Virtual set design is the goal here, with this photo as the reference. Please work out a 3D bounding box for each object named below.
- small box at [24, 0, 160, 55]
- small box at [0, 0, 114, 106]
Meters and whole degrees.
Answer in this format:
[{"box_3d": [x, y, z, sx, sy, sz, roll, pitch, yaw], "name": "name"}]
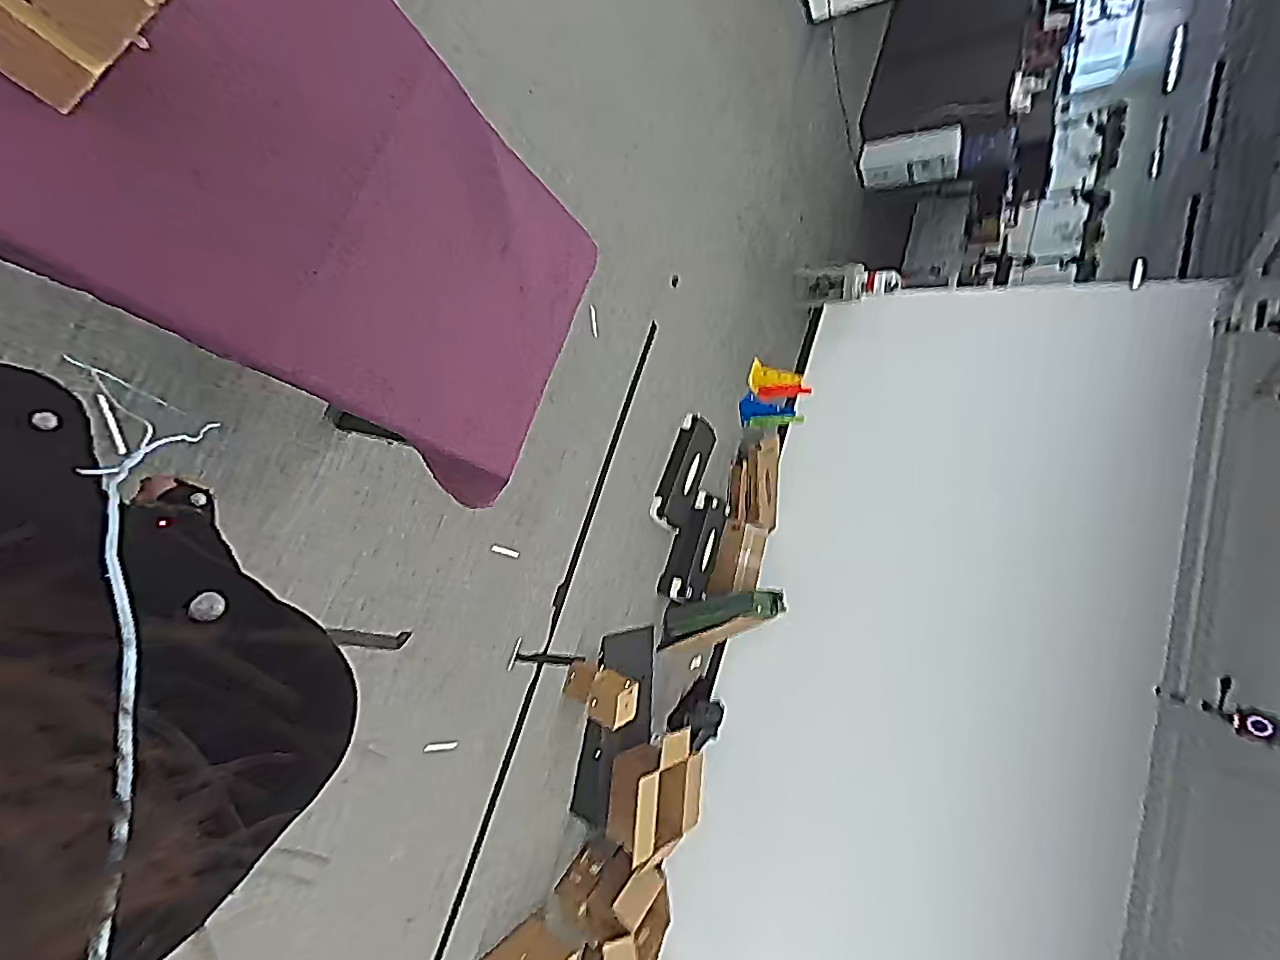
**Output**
[{"box_3d": [-0.466, -0.492, 0.426, 0.168, 0.176, 0.179, 30, 74, -54], "name": "small box"}, {"box_3d": [-0.601, -0.507, 0.521, 0.168, 0.176, 0.179, 37, 69, -53], "name": "small box"}]
